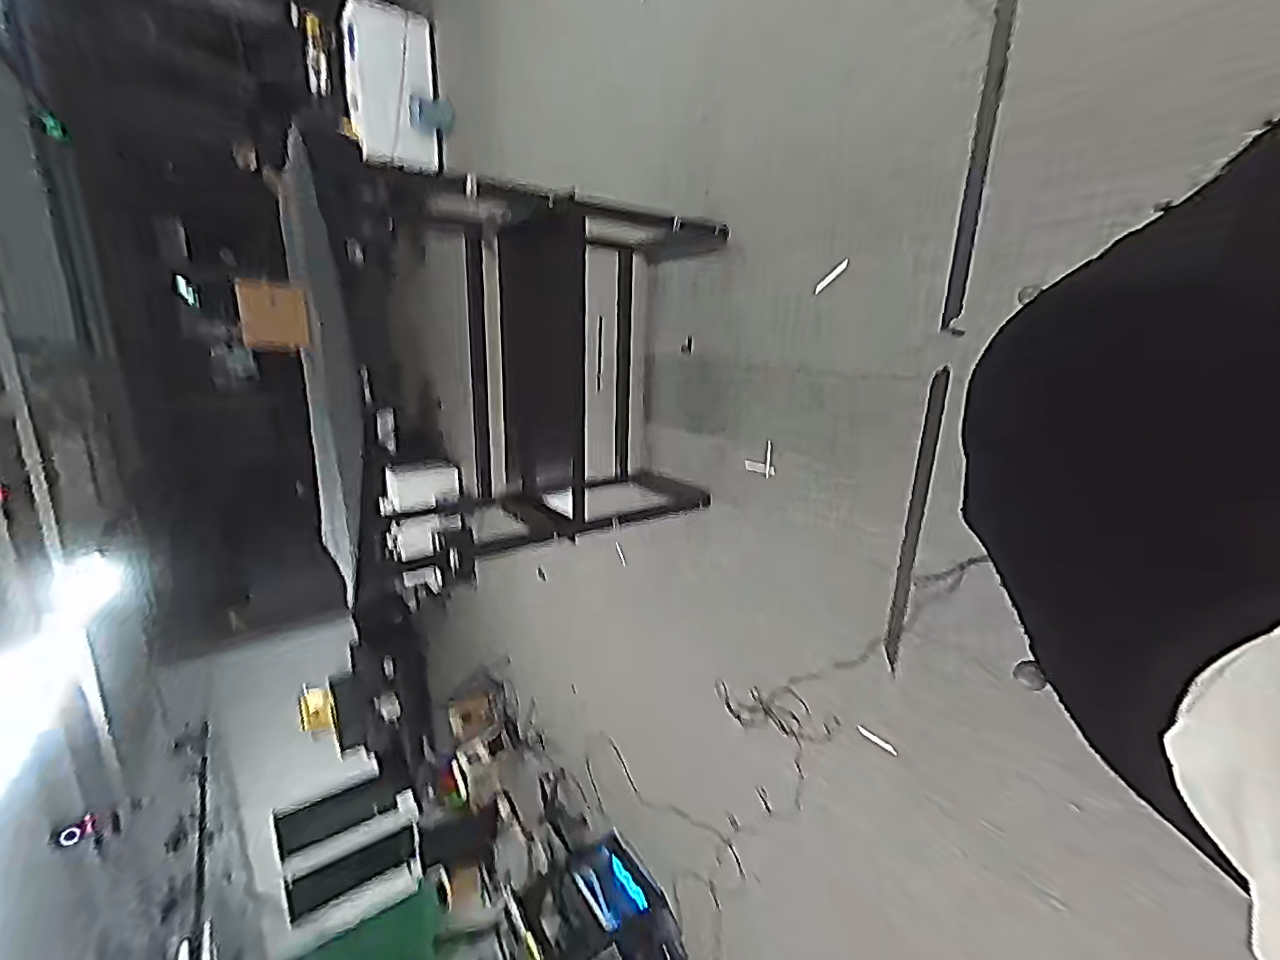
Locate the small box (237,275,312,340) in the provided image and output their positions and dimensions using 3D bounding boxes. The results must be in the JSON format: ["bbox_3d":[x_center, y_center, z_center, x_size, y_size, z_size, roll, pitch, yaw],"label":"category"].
[{"bbox_3d":[-1.123,-0.528,1.662,0.168,0.176,0.179,24,116,50],"label":"small box"}]
